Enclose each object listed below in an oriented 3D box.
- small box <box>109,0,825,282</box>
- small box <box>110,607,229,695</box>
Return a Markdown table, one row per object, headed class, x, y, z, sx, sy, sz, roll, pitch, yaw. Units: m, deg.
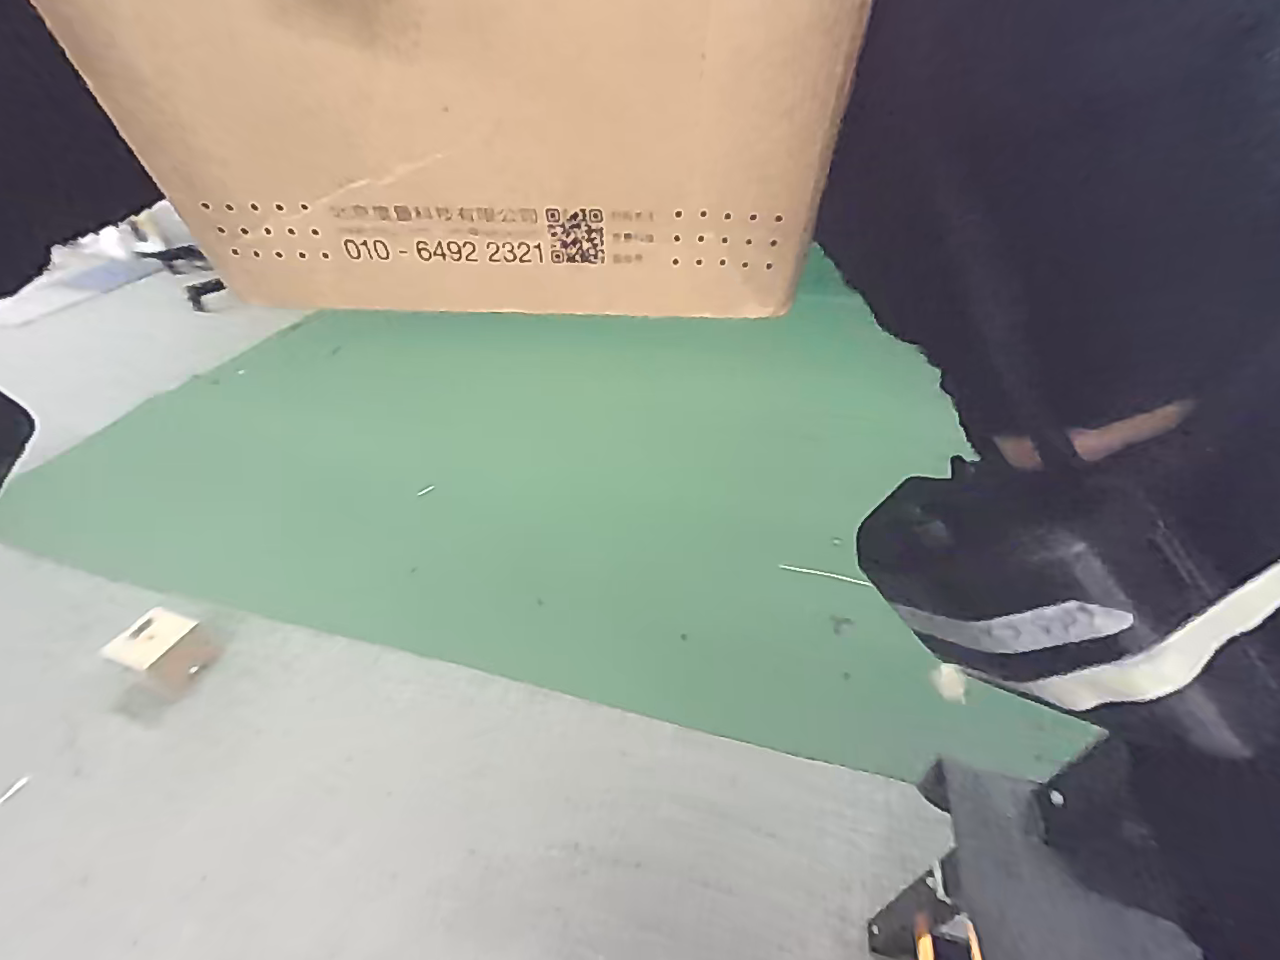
| class | x | y | z | sx | sy | sz | roll | pitch | yaw |
| --- | --- | --- | --- | --- | --- | --- | --- | --- | --- |
| small box | -0.037 | -0.175 | 0.157 | 0.168 | 0.176 | 0.179 | 1 | 52 | 1 |
| small box | -1.390 | 0.511 | 1.609 | 0.179 | 0.176 | 0.168 | 13 | 42 | 14 |
